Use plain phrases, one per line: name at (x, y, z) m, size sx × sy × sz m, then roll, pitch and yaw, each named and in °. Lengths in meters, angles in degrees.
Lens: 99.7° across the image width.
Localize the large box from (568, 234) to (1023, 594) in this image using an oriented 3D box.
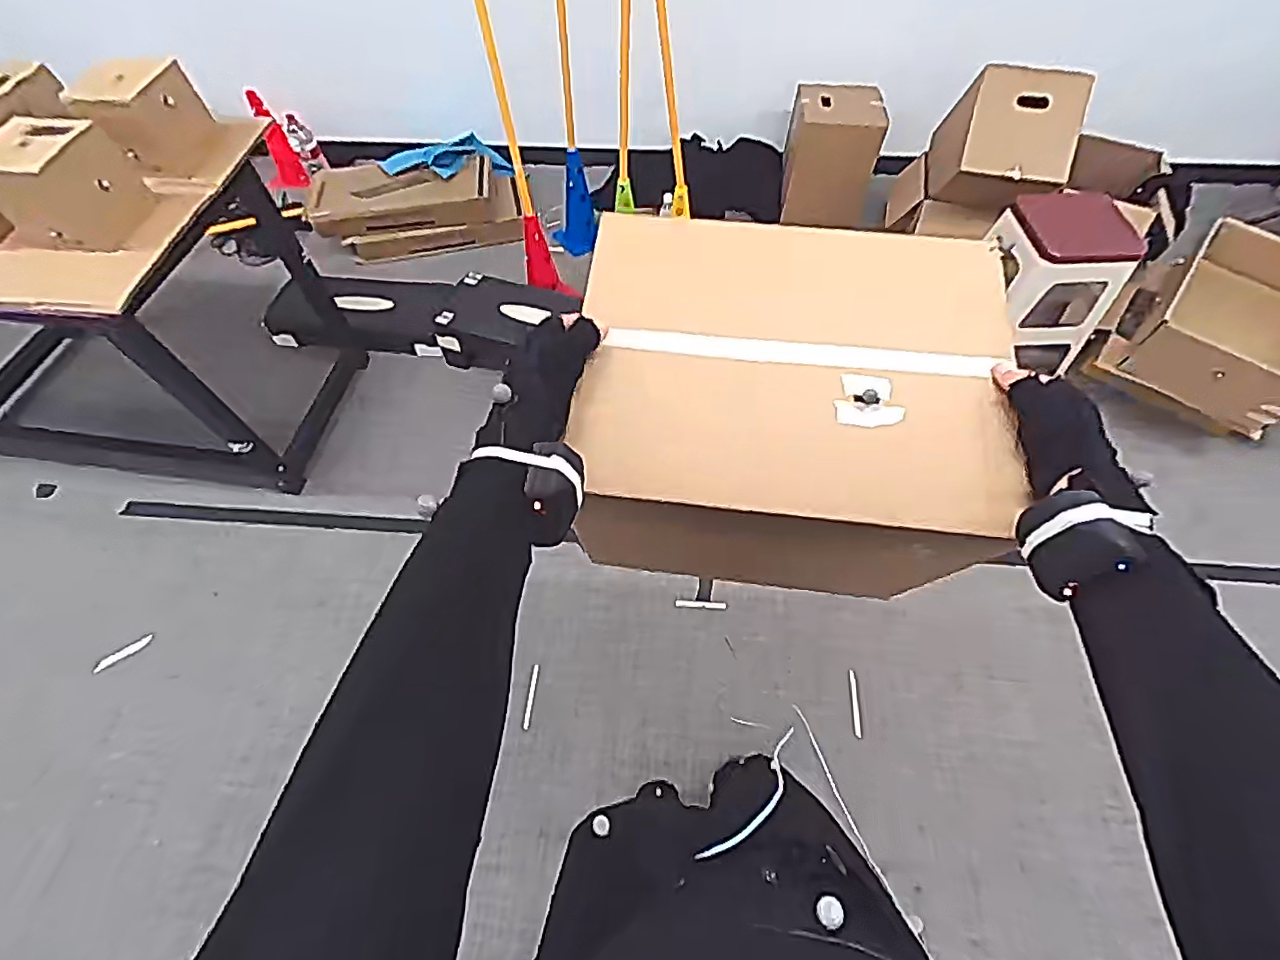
large box at (0.150, -0.057, 0.662) m, size 0.408 × 0.320 × 0.320 m, roll 6°, pitch 70°, yaw 4°
